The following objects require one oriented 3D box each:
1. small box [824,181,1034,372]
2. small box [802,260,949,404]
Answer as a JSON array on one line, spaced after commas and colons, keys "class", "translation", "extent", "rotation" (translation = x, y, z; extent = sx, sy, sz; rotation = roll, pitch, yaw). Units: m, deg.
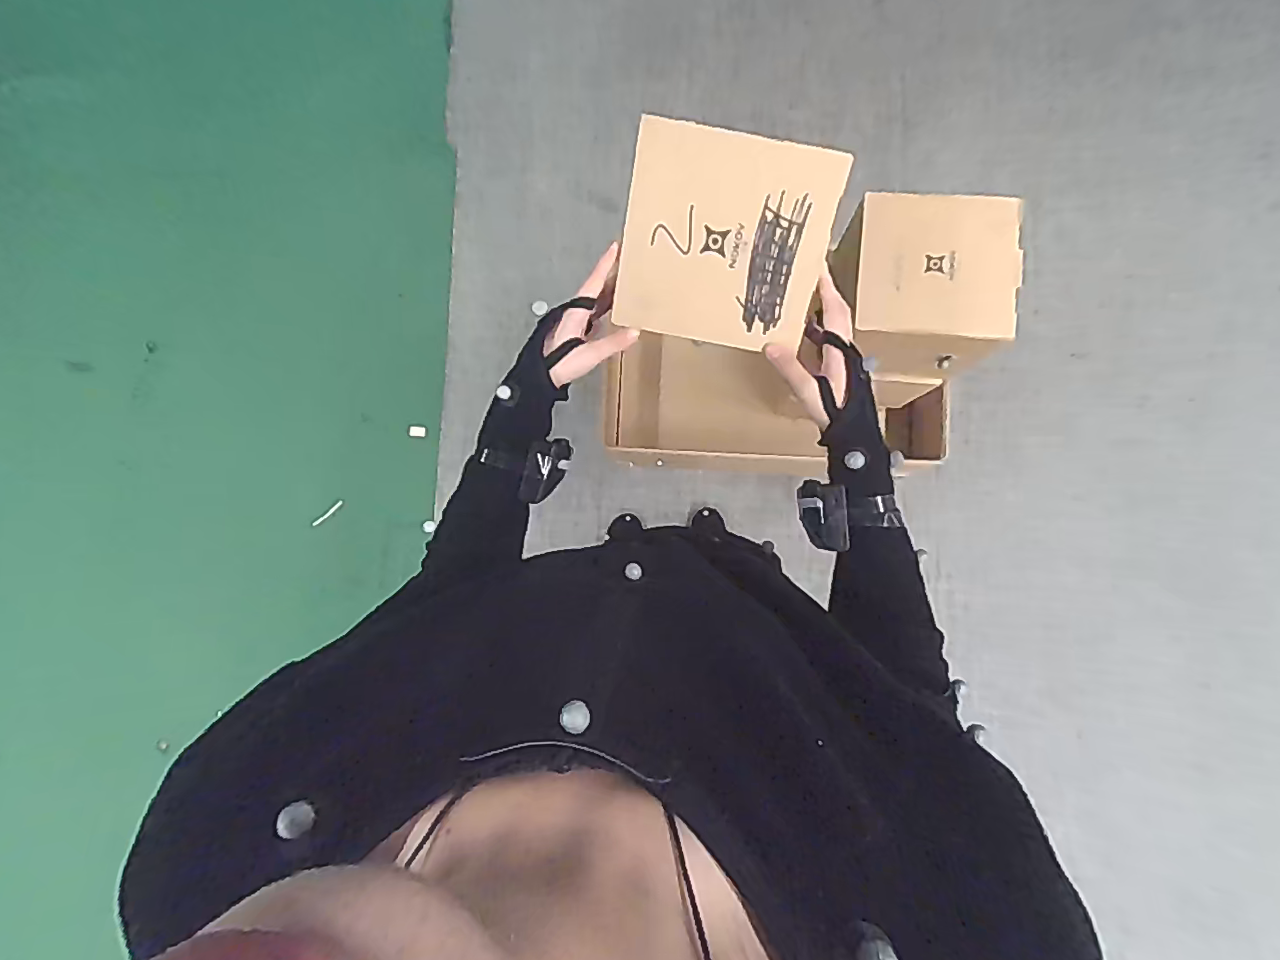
[{"class": "small box", "translation": [0.343, -0.239, 0.673], "extent": [0.179, 0.176, 0.168], "rotation": [6, 86, 7]}, {"class": "small box", "translation": [0.356, -0.219, 0.835], "extent": [0.179, 0.176, 0.168], "rotation": [6, 87, 6]}]
